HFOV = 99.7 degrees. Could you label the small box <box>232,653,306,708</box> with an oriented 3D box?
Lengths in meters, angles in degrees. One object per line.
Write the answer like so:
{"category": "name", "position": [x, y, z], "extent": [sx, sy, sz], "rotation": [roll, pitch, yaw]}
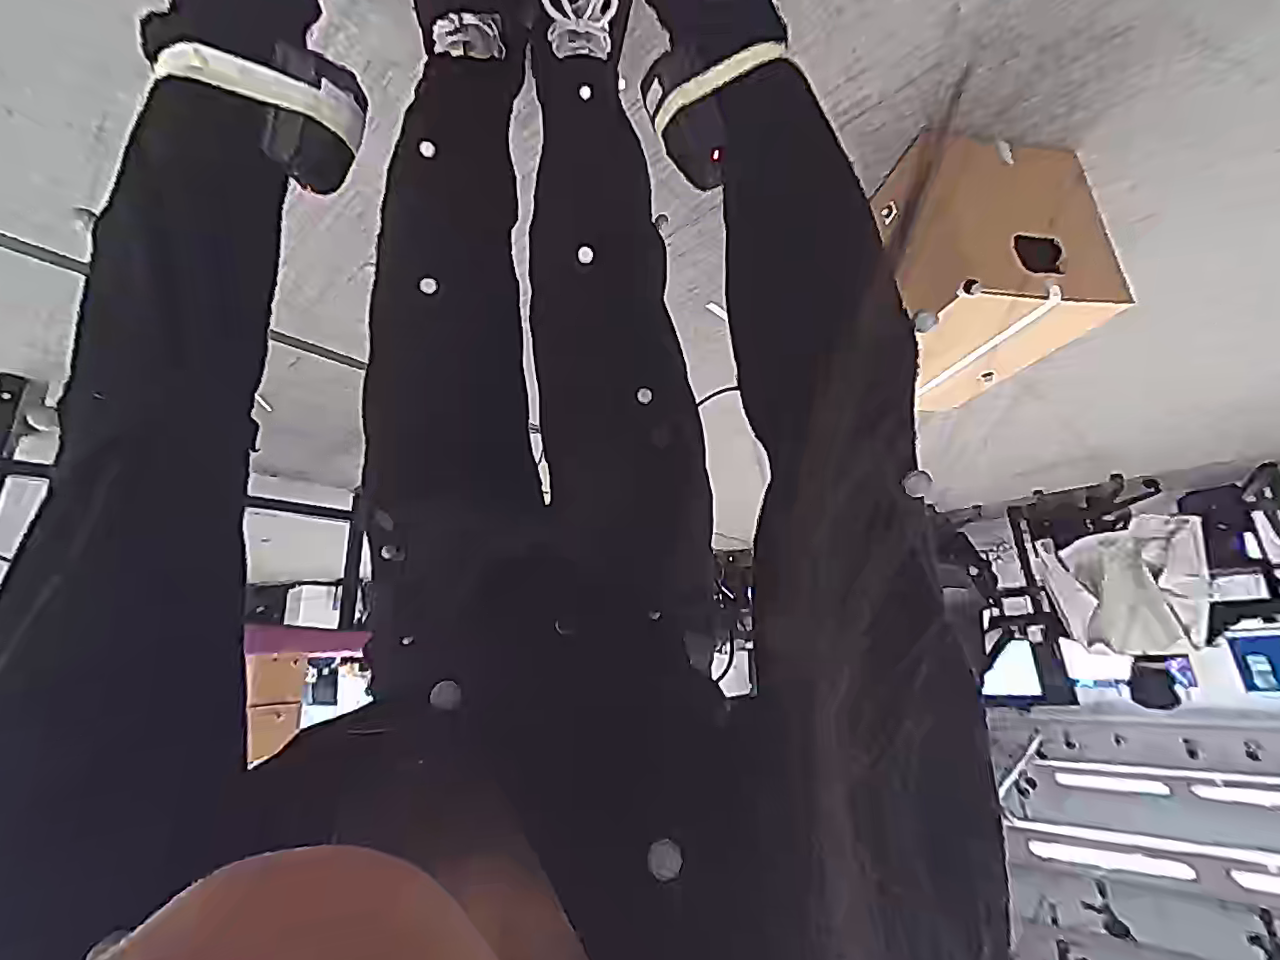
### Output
{"category": "small box", "position": [-1.304, 0.703, 1.906], "extent": [0.179, 0.176, 0.168], "rotation": [-16, 158, 37]}

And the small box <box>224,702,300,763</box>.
{"category": "small box", "position": [-1.288, 0.855, 1.849], "extent": [0.179, 0.176, 0.168], "rotation": [-18, 158, 37]}
